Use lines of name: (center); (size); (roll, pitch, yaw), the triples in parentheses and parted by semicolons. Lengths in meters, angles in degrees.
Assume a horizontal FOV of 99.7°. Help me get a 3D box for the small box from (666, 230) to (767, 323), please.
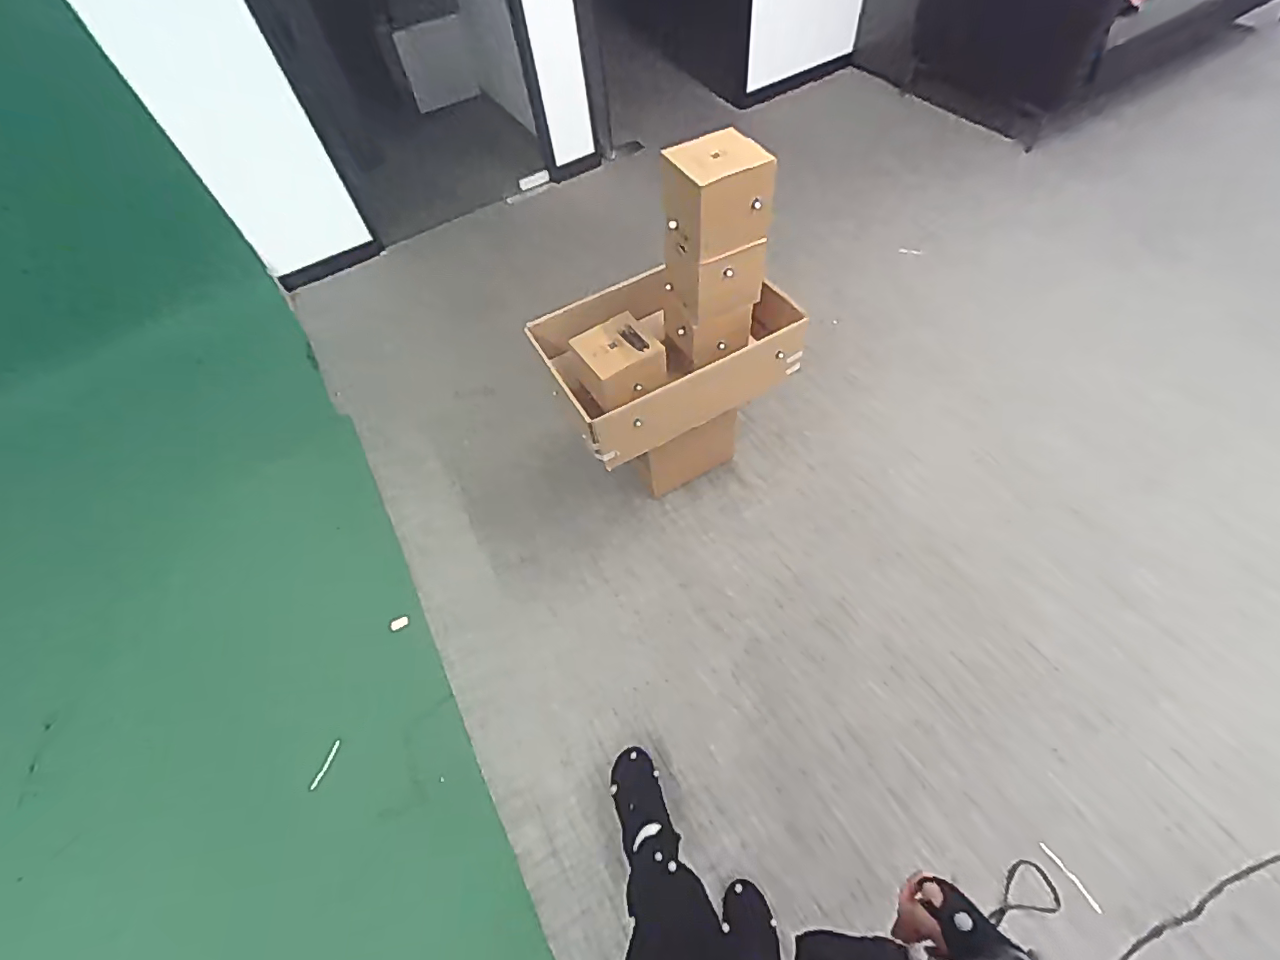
small box: (0.178, -0.503, 1.279); (0.179, 0.176, 0.168); (-24, 58, -11)

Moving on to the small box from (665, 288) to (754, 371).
small box: (0.179, -0.408, 1.413); (0.168, 0.176, 0.179); (-23, 57, -9)

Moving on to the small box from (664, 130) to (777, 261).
small box: (0.164, -0.602, 1.150); (0.179, 0.176, 0.168); (-25, 57, -10)
